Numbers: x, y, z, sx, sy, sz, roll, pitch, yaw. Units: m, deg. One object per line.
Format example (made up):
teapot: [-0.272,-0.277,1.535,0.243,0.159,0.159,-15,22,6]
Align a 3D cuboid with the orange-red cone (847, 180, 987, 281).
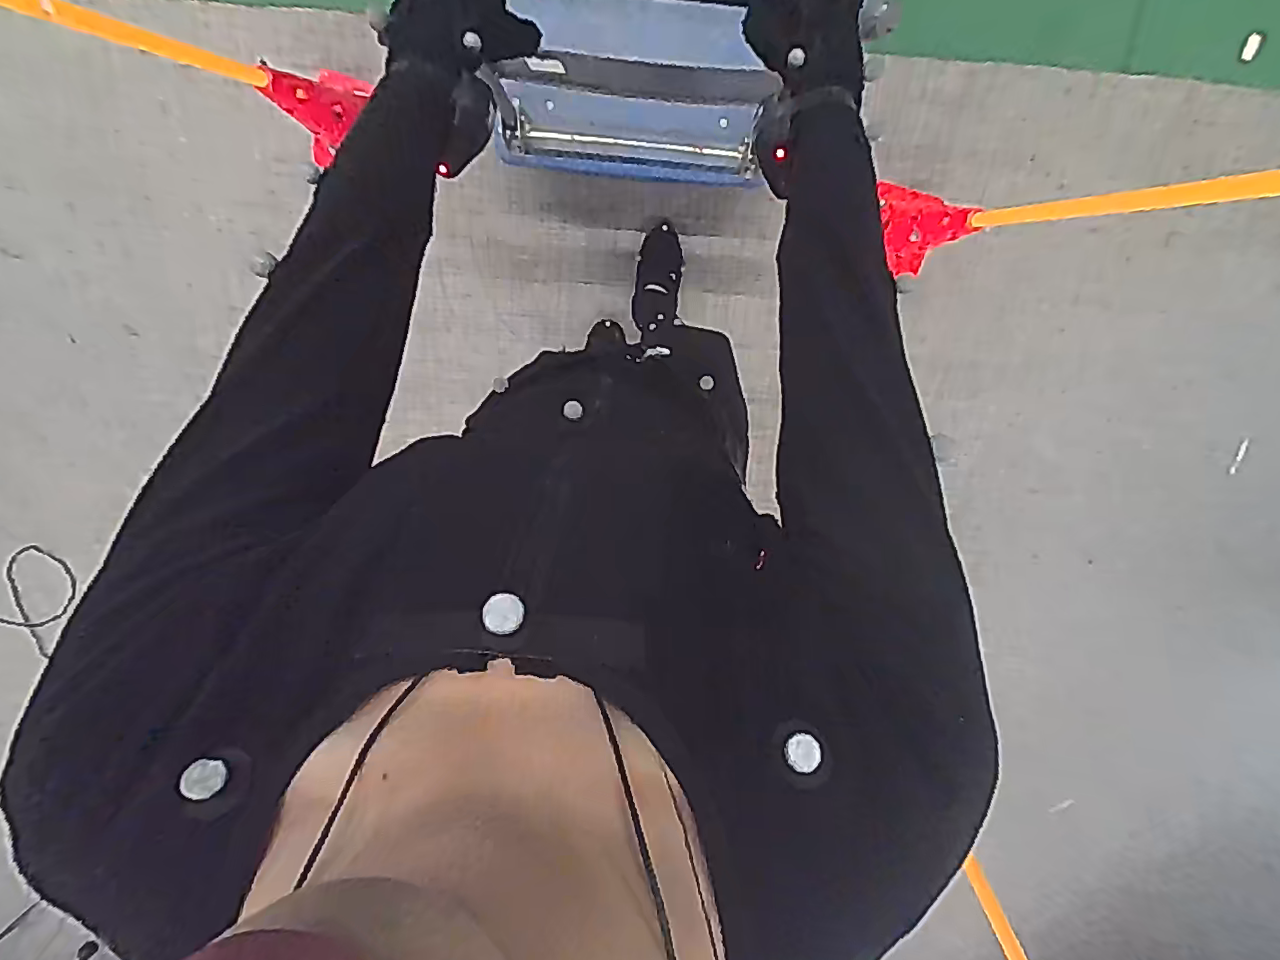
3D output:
orange-red cone: [0.631,-0.551,1.173,0.198,0.360,0.199,14,111,-5]
